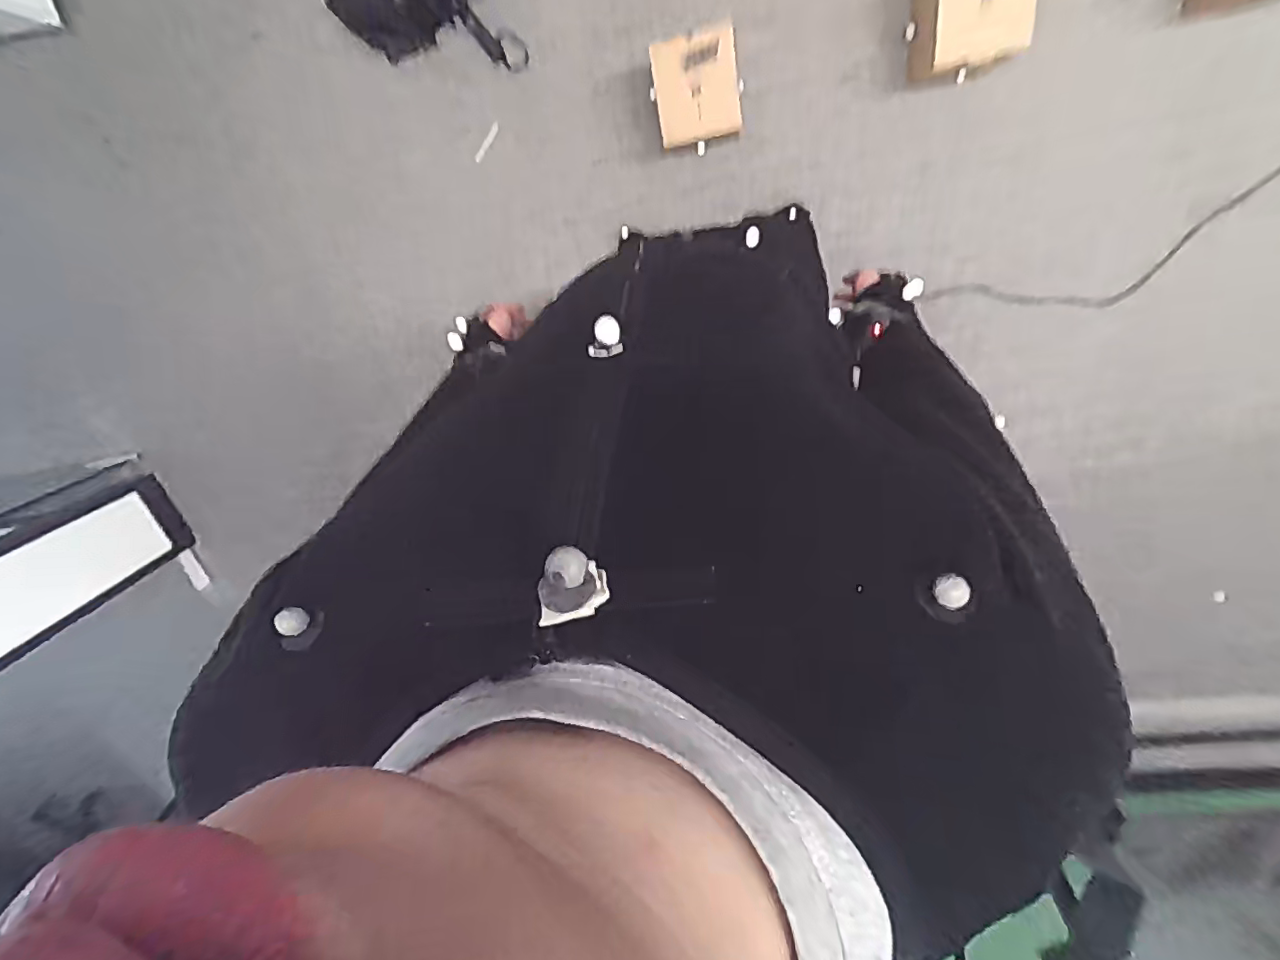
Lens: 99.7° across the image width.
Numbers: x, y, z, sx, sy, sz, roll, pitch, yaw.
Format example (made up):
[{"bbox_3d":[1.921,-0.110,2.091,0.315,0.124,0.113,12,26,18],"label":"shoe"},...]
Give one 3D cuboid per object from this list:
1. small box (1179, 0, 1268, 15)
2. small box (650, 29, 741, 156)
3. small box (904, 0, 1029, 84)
[{"bbox_3d":[1.113,-0.957,0.949,0.168,0.176,0.179,-6,114,11],"label":"small box"},{"bbox_3d":[0.122,-0.820,1.164,0.168,0.176,0.179,-7,116,12],"label":"small box"},{"bbox_3d":[0.627,-0.896,1.052,0.168,0.176,0.179,-5,116,11],"label":"small box"}]
